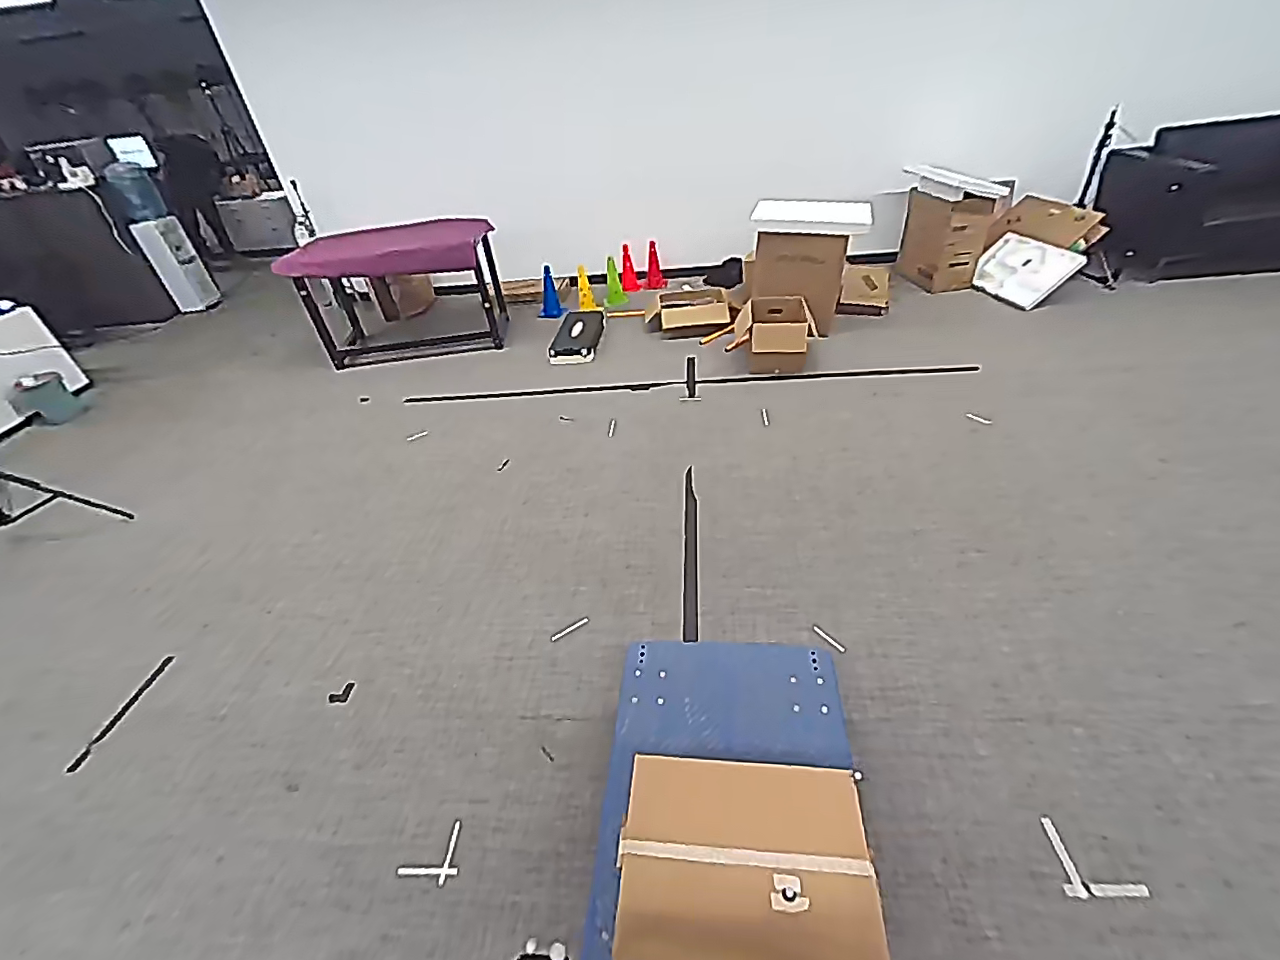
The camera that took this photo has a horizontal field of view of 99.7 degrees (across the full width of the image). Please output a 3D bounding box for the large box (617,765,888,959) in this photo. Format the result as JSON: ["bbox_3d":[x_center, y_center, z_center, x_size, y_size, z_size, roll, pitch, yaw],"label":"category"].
[{"bbox_3d":[0.181,0.752,0.972,0.408,0.320,0.320,1,39,7],"label":"large box"}]
